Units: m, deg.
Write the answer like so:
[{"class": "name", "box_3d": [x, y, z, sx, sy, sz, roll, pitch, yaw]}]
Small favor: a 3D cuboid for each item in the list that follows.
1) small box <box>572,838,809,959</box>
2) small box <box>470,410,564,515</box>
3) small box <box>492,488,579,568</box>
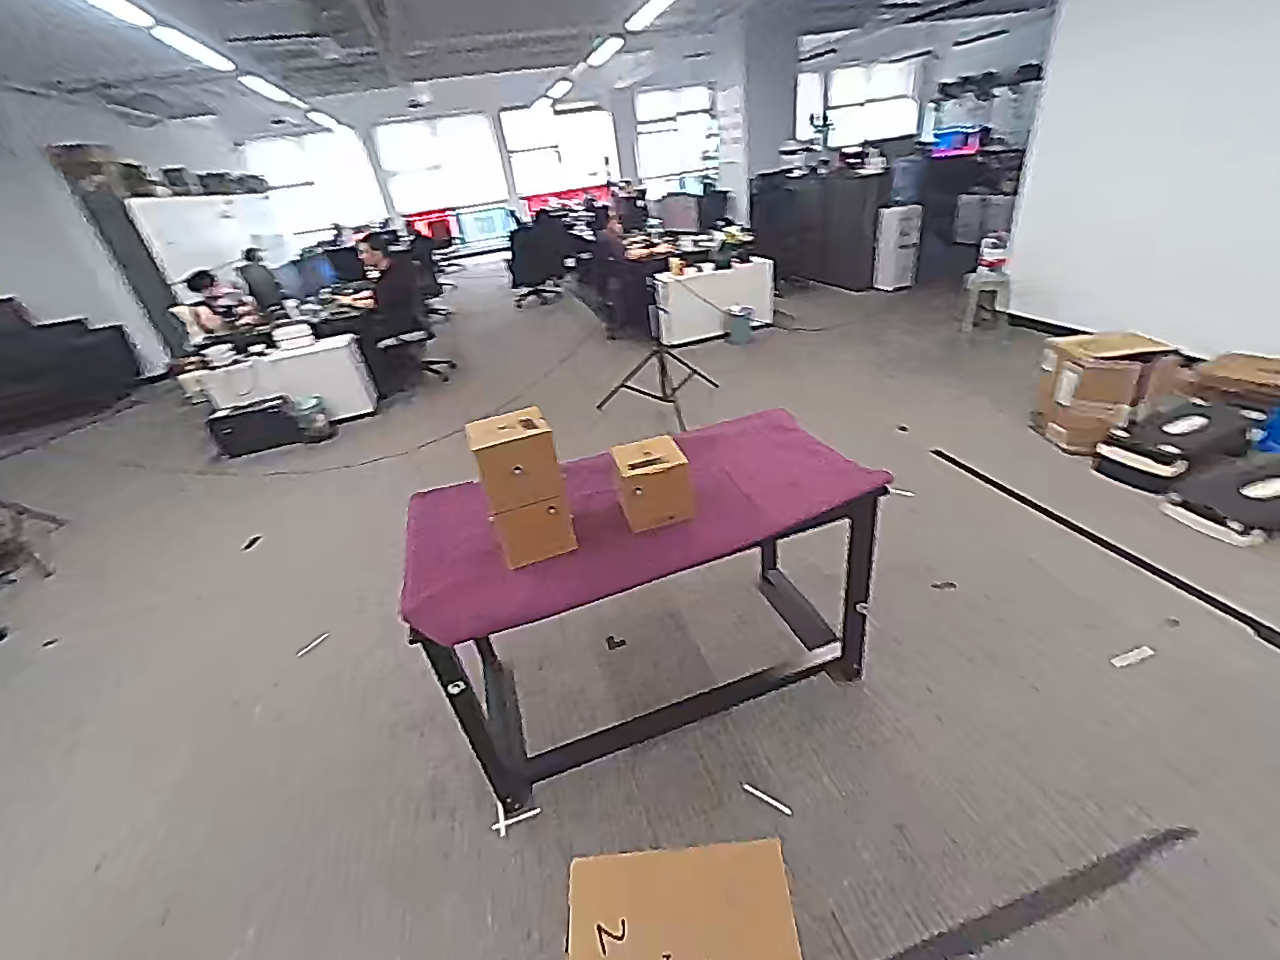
[{"class": "small box", "box_3d": [0.048, 0.413, 0.439, 0.179, 0.176, 0.168, -9, 42, 5]}, {"class": "small box", "box_3d": [-0.285, -0.043, 1.272, 0.179, 0.176, 0.168, -17, 31, -14]}, {"class": "small box", "box_3d": [-0.268, 0.096, 1.358, 0.179, 0.176, 0.168, -16, 31, -14]}]
